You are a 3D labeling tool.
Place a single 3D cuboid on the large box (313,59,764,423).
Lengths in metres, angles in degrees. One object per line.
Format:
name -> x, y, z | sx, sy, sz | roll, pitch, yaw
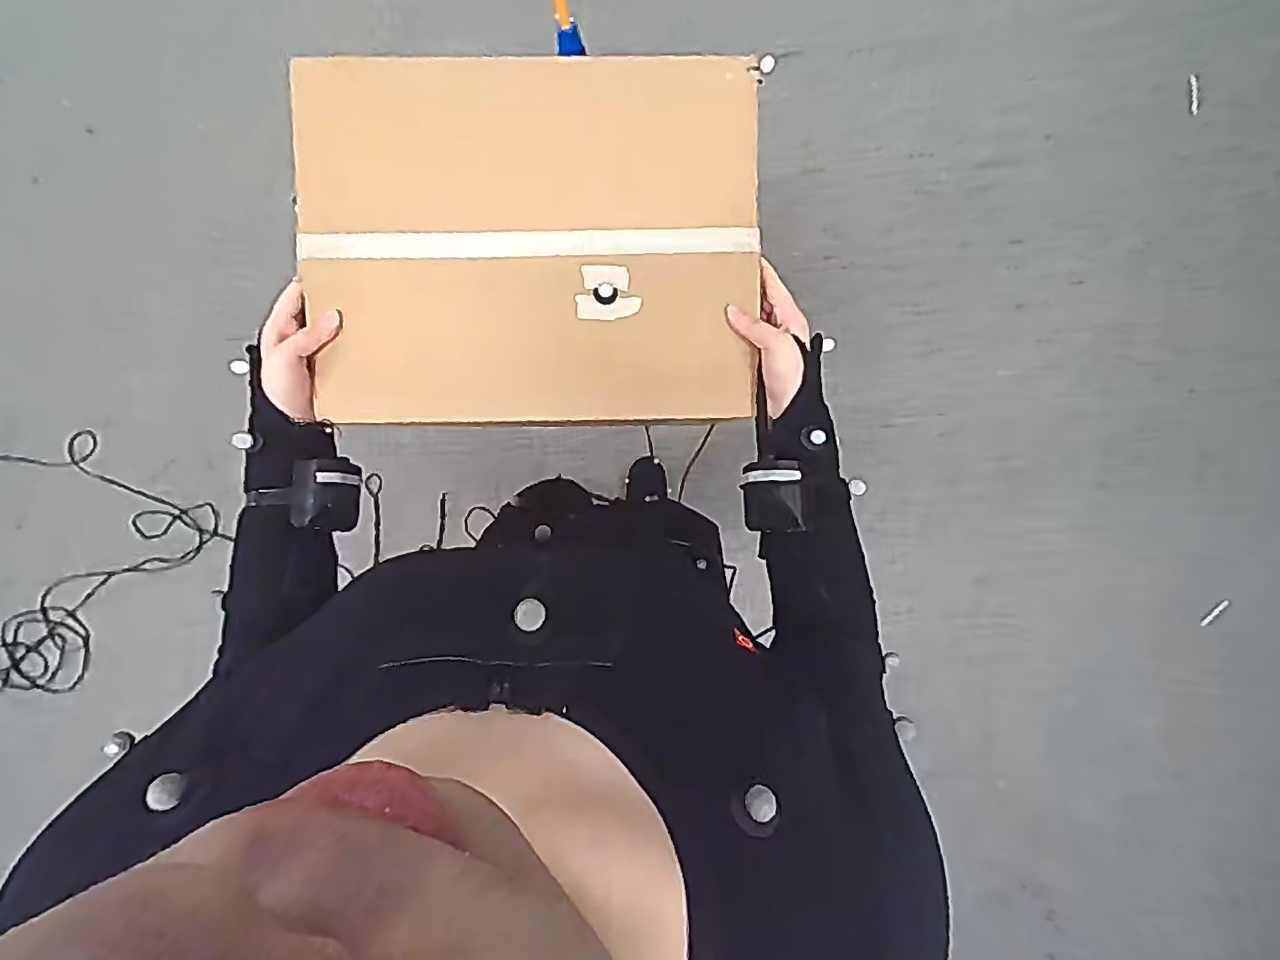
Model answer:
large box -> -0.092, -0.230, 0.637 | 0.408, 0.320, 0.320 | -1, 96, -2
